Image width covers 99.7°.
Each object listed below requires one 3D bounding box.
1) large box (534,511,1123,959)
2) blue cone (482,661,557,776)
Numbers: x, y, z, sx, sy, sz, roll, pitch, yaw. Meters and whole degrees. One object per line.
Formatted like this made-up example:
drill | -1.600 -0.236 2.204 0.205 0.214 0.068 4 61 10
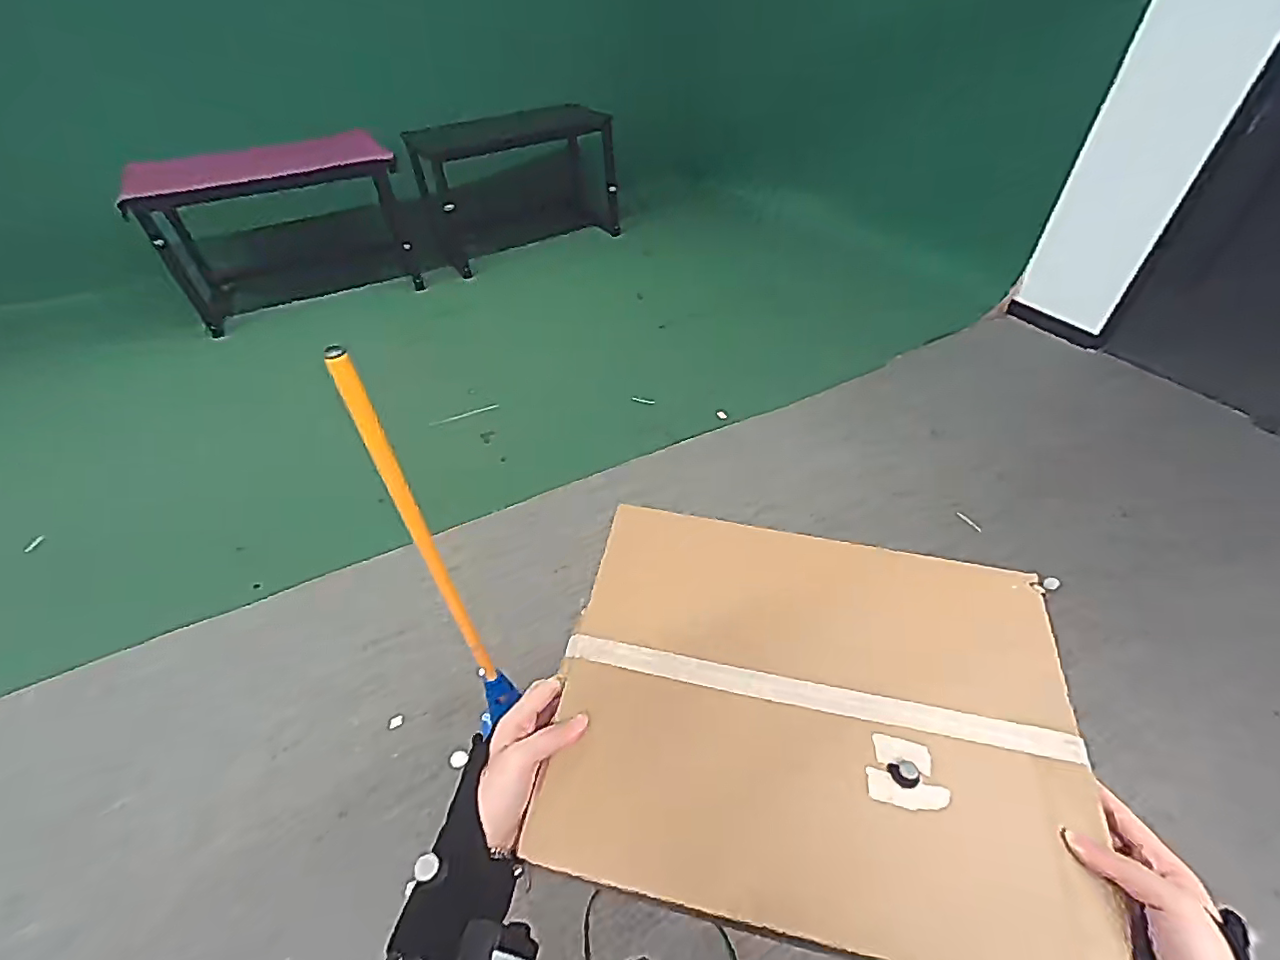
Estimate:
large box | 0.144 0.272 0.569 0.408 0.320 0.320 10 53 8
blue cone | -0.332 0.570 1.353 0.193 0.380 0.192 -14 45 -12
